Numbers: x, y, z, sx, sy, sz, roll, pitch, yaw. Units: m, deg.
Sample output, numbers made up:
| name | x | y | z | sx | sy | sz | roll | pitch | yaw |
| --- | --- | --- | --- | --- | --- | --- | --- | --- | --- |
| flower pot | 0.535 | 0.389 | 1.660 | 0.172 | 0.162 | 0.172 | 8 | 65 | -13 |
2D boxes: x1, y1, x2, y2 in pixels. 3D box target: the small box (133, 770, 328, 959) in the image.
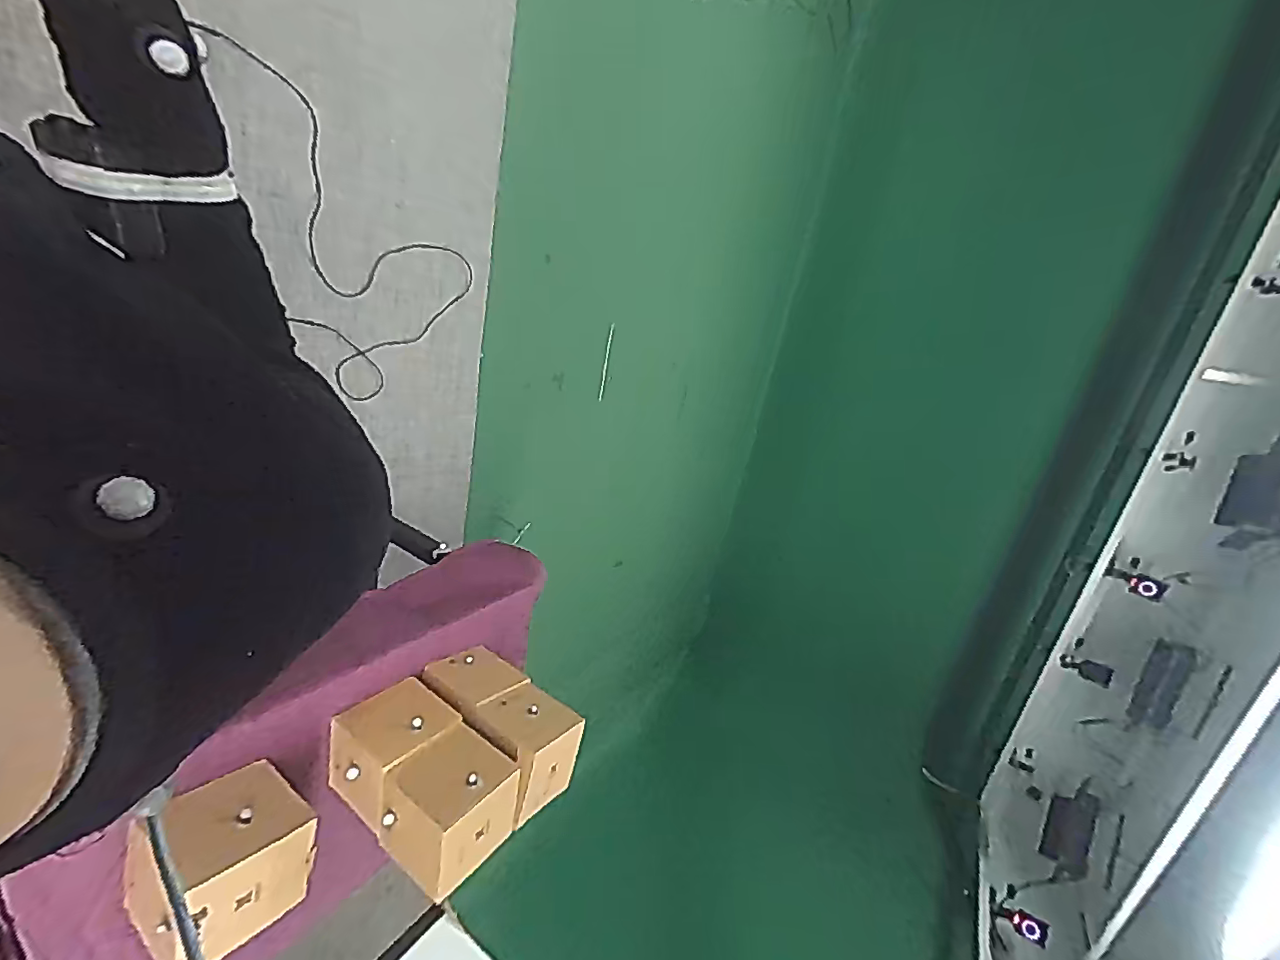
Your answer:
| name | x | y | z | sx | sy | sz | roll | pitch | yaw |
| --- | --- | --- | --- | --- | --- | --- | --- | --- | --- |
| small box | -0.613 | 0.583 | 0.816 | 0.179 | 0.176 | 0.168 | -7 | 113 | -60 |
